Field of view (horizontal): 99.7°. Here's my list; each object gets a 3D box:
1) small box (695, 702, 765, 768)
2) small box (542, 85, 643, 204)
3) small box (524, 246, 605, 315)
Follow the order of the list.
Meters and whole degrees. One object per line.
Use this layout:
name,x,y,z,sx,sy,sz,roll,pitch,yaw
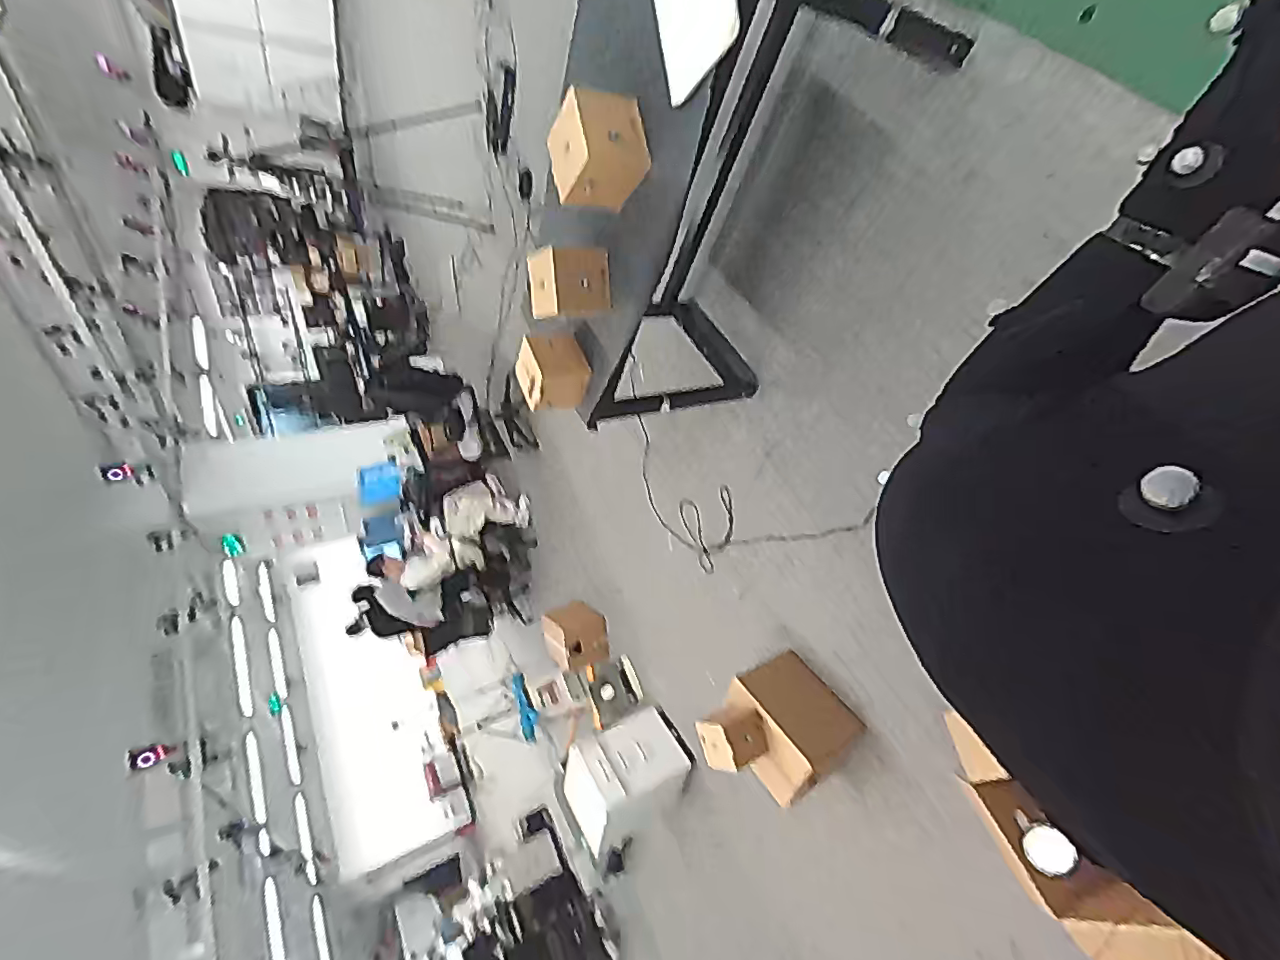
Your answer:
small box,0.341,0.942,2.013,0.179,0.176,0.168,-31,75,55
small box,-0.106,-0.774,1.267,0.179,0.176,0.168,-18,85,60
small box,-0.206,-0.553,1.511,0.179,0.176,0.168,18,116,55
